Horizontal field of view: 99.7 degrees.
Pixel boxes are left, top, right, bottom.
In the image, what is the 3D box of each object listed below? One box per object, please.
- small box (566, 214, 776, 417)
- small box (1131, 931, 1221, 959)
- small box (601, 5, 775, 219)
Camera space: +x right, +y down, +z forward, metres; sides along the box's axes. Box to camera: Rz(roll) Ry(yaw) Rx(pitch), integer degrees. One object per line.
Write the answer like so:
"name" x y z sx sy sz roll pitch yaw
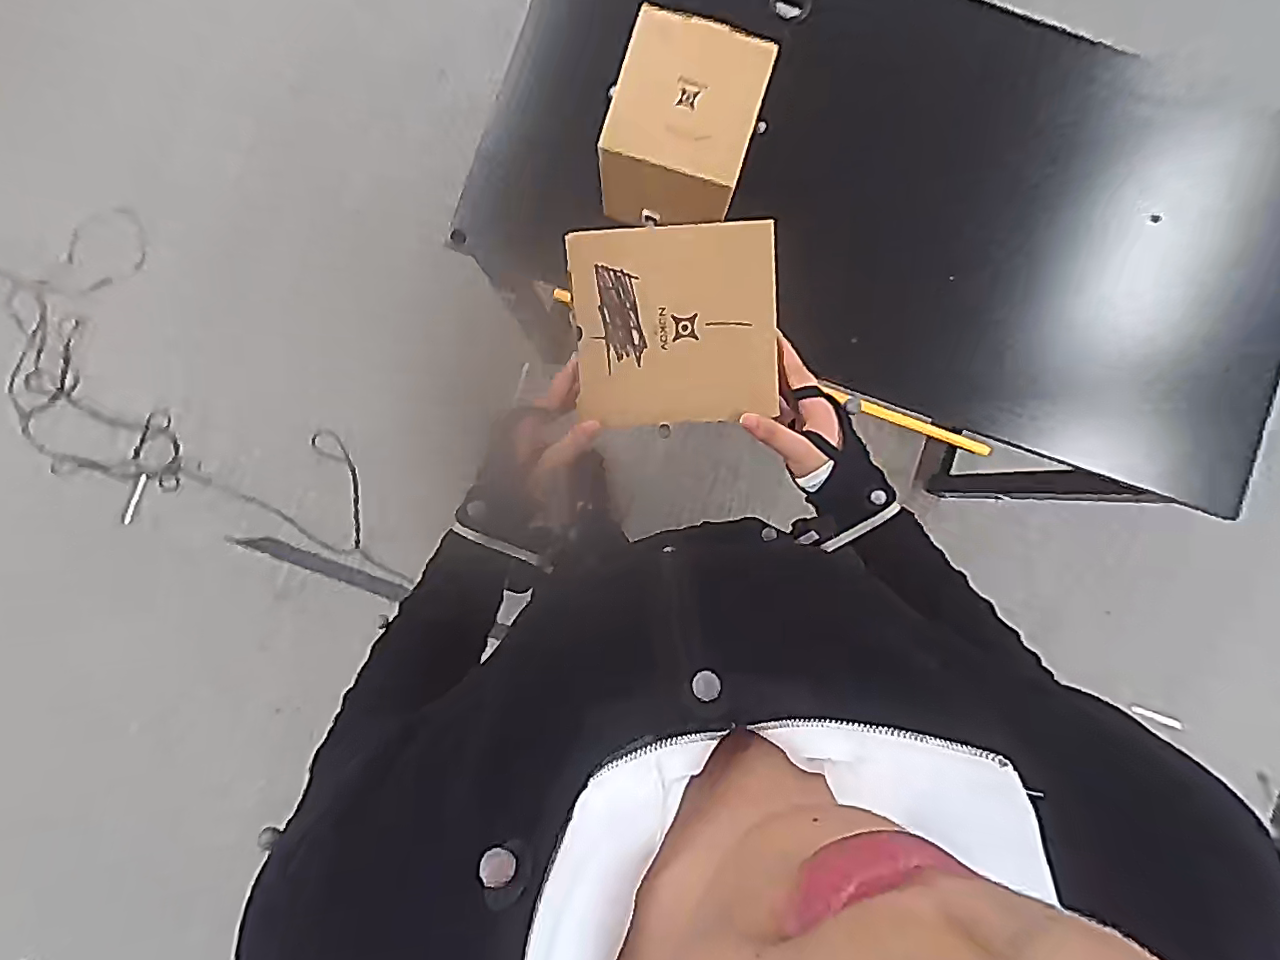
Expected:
"small box" 0.028 -0.147 0.538 0.179 0.176 0.168 -3 98 -1
"small box" 1.294 1.208 1.261 0.179 0.176 0.168 12 89 0
"small box" 0.053 -0.437 0.697 0.168 0.176 0.179 16 89 0
